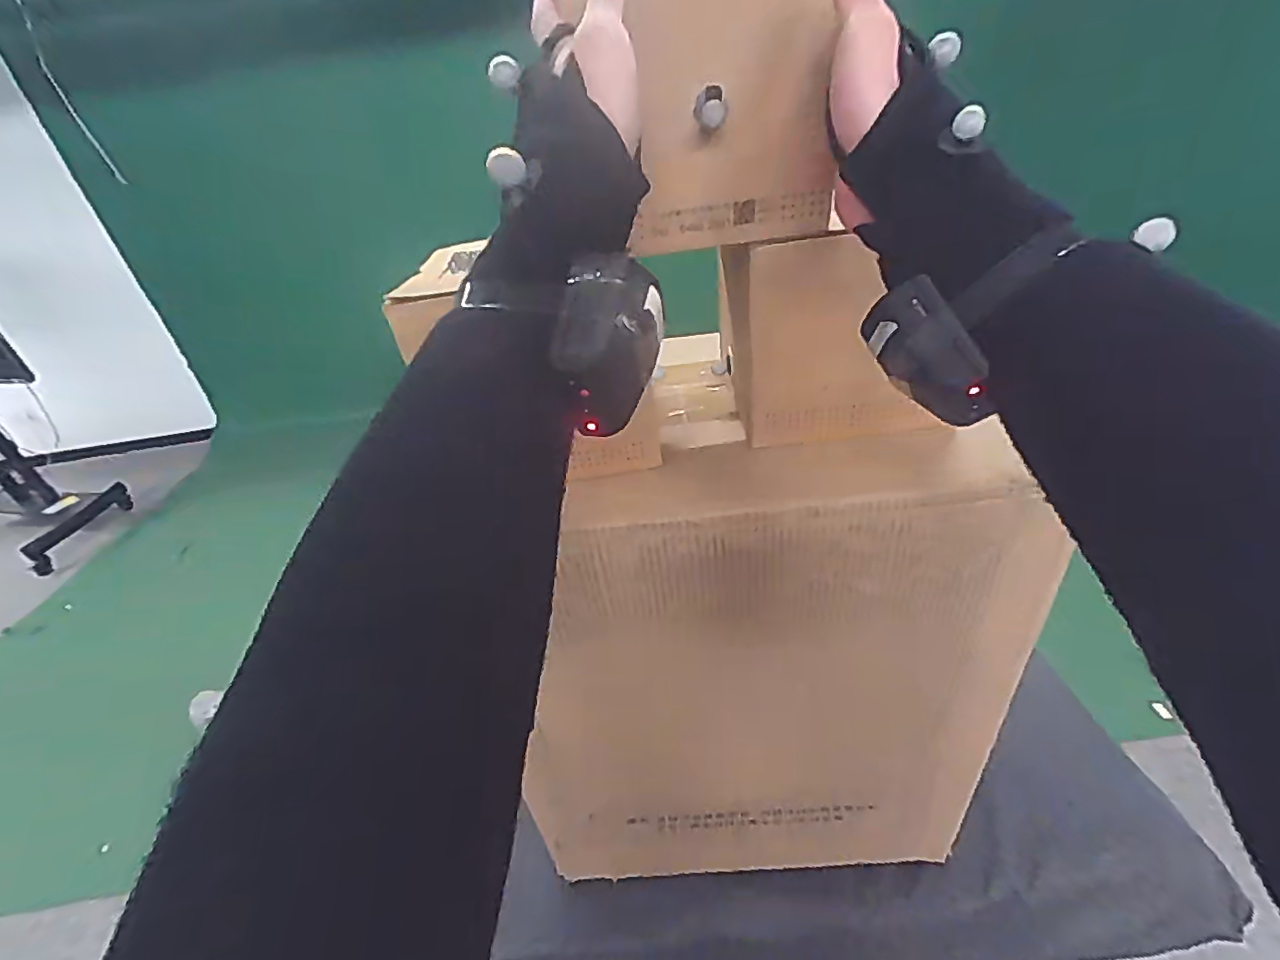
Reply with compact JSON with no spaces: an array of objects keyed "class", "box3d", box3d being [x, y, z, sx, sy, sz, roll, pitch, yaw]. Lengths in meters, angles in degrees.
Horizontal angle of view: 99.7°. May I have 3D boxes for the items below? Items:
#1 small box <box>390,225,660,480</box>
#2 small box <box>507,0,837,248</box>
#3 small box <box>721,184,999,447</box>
[{"class":"small box","box3d":[-0.081,-0.114,0.485,0.179,0.176,0.168,-7,38,4]},{"class":"small box","box3d":[0.032,-0.283,0.402,0.179,0.176,0.168,-28,39,-24]},{"class":"small box","box3d":[0.168,-0.147,0.481,0.179,0.176,0.168,-7,34,4]}]
